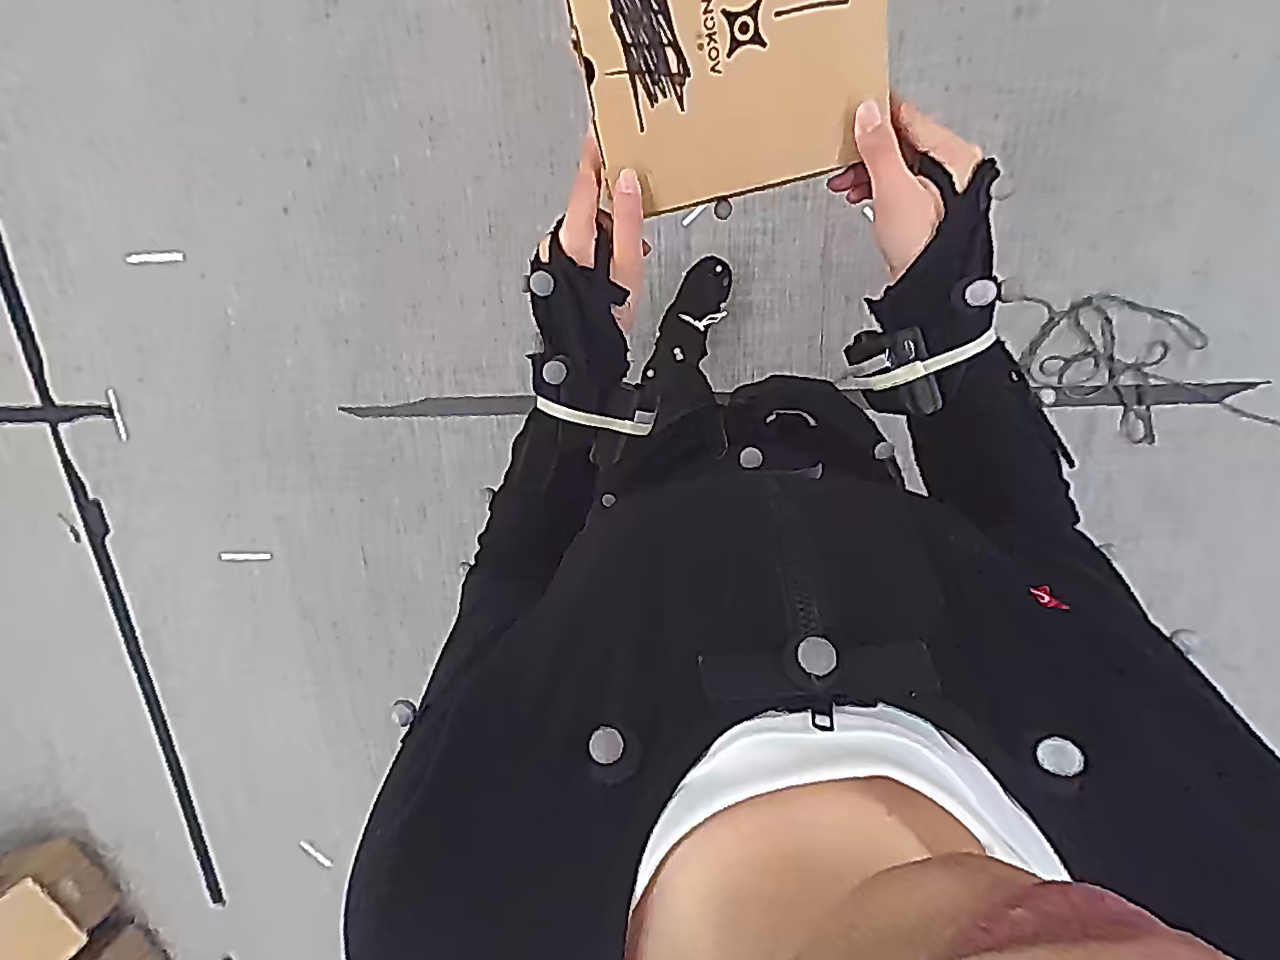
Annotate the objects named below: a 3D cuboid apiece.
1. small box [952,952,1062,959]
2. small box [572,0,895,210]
[{"bbox_3d":[0.522,0.784,0.729,0.179,0.176,0.168,-5,105,6],"label":"small box"},{"bbox_3d":[0.056,-0.294,0.374,0.179,0.176,0.168,-10,114,7],"label":"small box"}]
